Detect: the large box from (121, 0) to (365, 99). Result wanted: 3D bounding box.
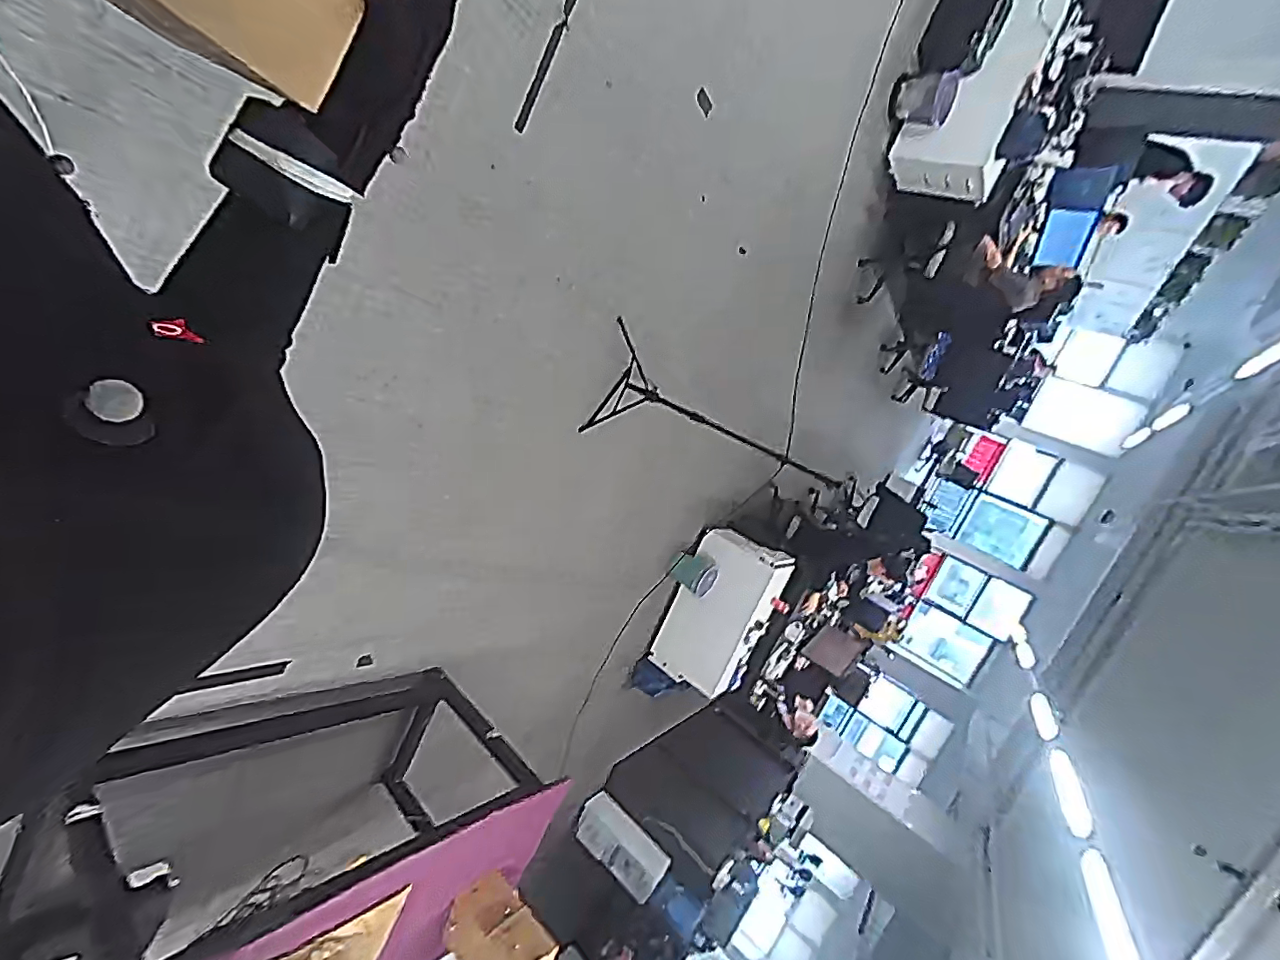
[{"bbox_3d":[-0.337,-0.481,0.235,0.320,0.320,0.408,-57,151,9],"label":"large box"}]
